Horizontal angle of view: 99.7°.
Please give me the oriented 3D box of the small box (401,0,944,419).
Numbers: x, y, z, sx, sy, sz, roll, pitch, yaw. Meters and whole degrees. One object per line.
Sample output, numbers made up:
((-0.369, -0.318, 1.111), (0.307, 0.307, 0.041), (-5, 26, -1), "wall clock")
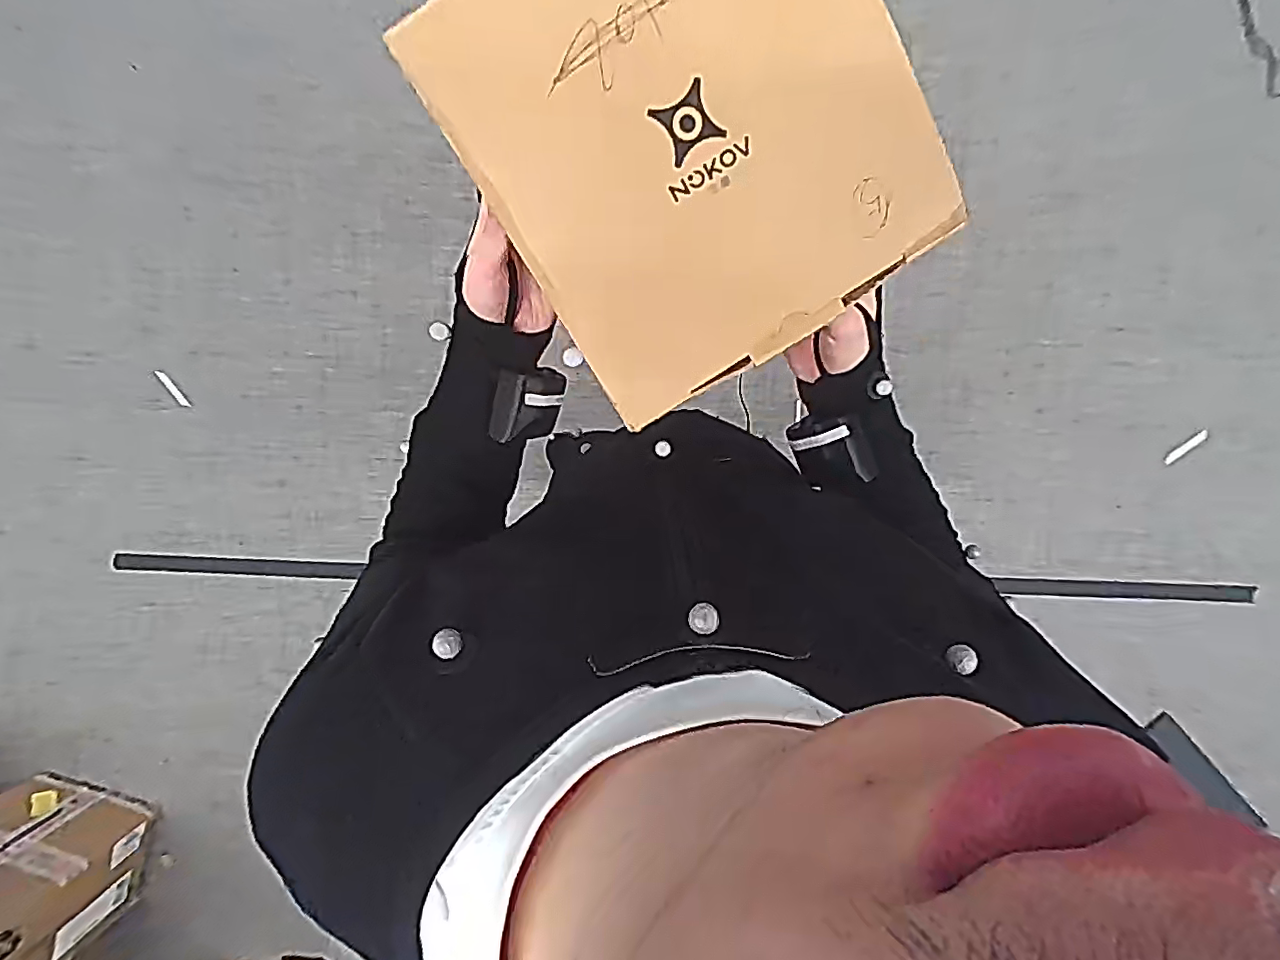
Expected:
((0.016, -0.158, 0.299), (0.168, 0.176, 0.179), (-32, 102, 5), "small box")
